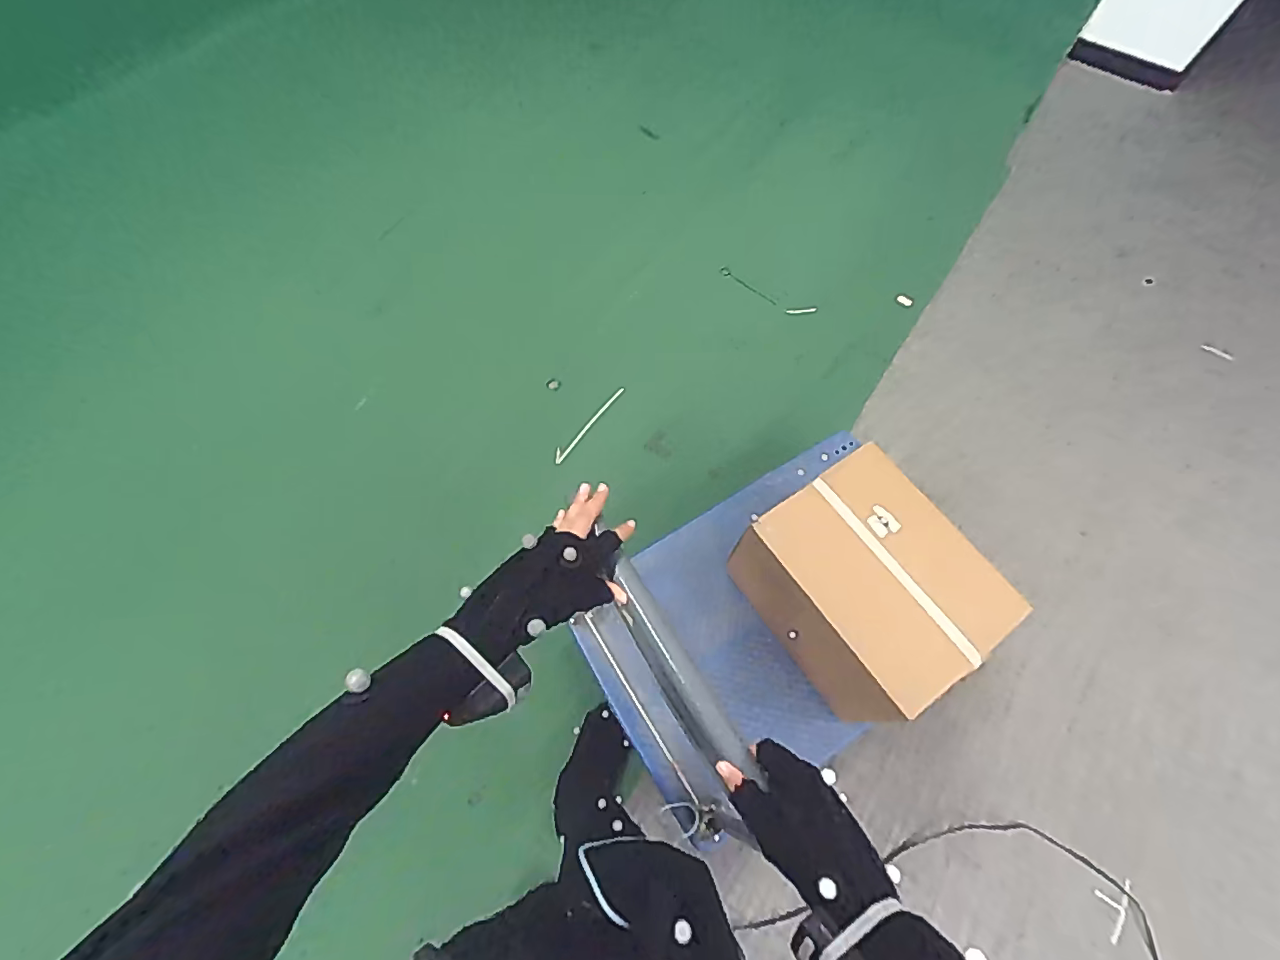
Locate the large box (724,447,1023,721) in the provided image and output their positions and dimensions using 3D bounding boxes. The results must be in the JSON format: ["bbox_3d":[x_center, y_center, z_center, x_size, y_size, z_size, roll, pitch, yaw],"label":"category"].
[{"bbox_3d":[0.427,0.220,1.097,0.320,0.320,0.408,-31,69,-15],"label":"large box"}]
